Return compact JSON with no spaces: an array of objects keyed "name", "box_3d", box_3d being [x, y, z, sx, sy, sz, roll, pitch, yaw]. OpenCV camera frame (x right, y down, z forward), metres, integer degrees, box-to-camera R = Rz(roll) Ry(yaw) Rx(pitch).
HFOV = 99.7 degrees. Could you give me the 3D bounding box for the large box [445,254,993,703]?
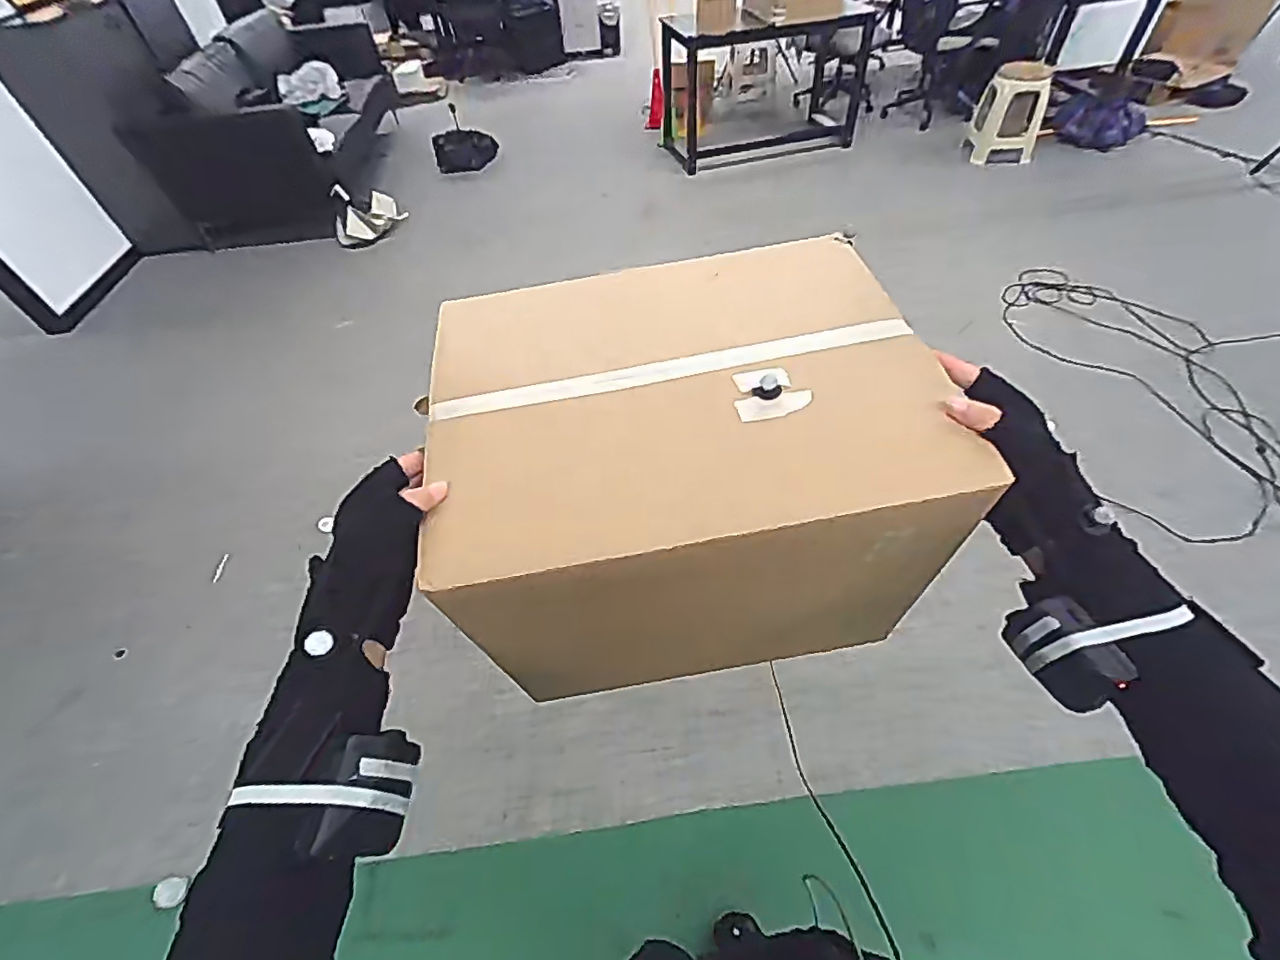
[{"name":"large box","box_3d":[0.045,0.009,0.582,0.408,0.320,0.320,-10,55,-2]}]
